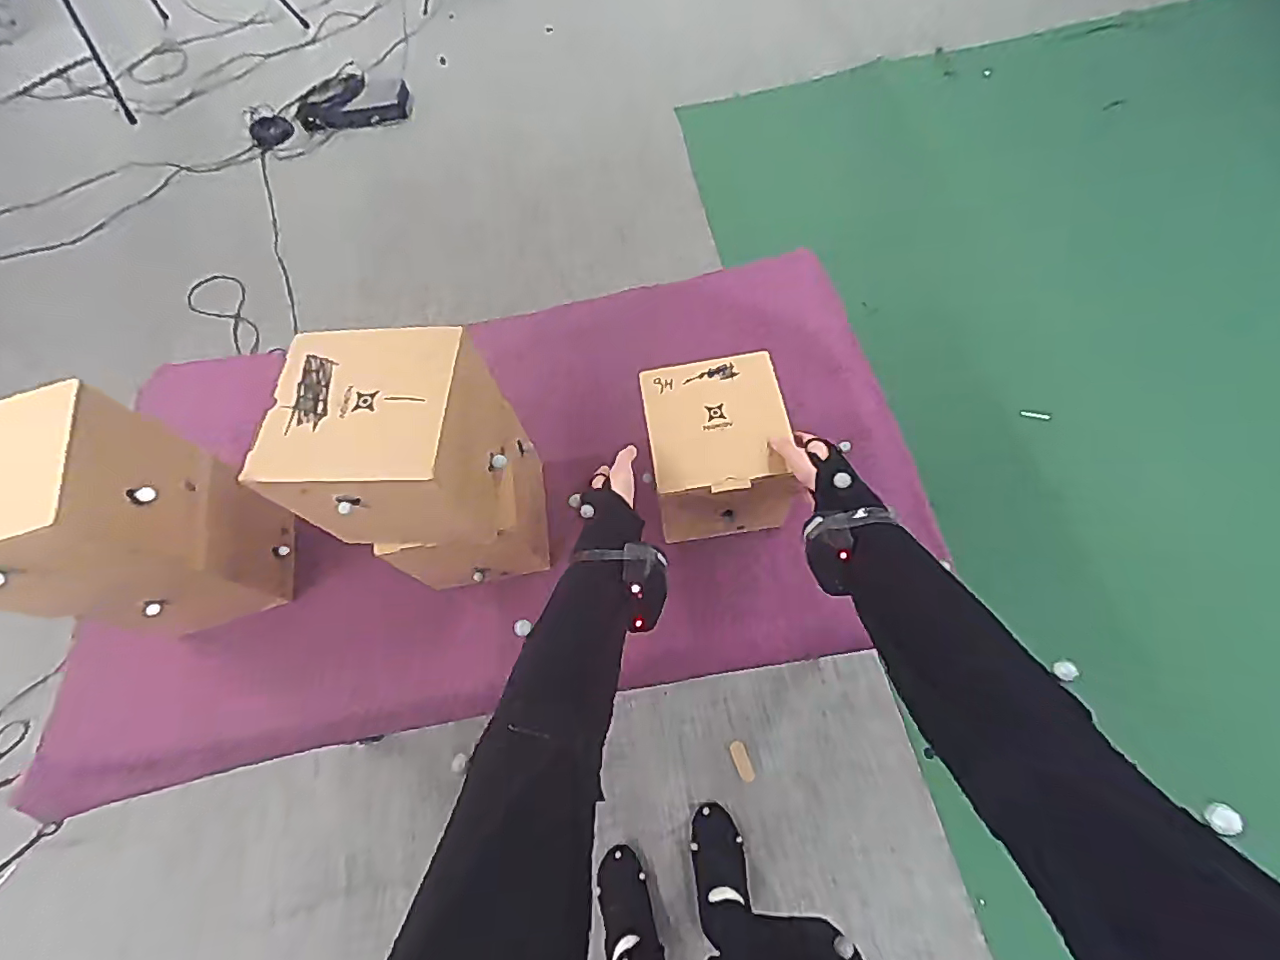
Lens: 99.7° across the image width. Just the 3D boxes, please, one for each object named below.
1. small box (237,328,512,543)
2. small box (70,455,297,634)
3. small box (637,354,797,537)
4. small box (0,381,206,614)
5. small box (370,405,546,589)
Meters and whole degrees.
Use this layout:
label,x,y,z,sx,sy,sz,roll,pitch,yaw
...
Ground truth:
label,x,y,z,sx,sy,sz,roll,pitch,yaw
small box,-0.252,-0.037,0.563,0.179,0.176,0.168,0,65,5
small box,-0.598,0.094,0.719,0.179,0.176,0.168,-16,65,-2
small box,0.094,-0.034,0.708,0.168,0.176,0.179,-9,64,2
small box,-0.607,0.028,0.572,0.179,0.176,0.168,-18,66,-2
small box,-0.226,0.028,0.711,0.168,0.176,0.179,-10,65,1
